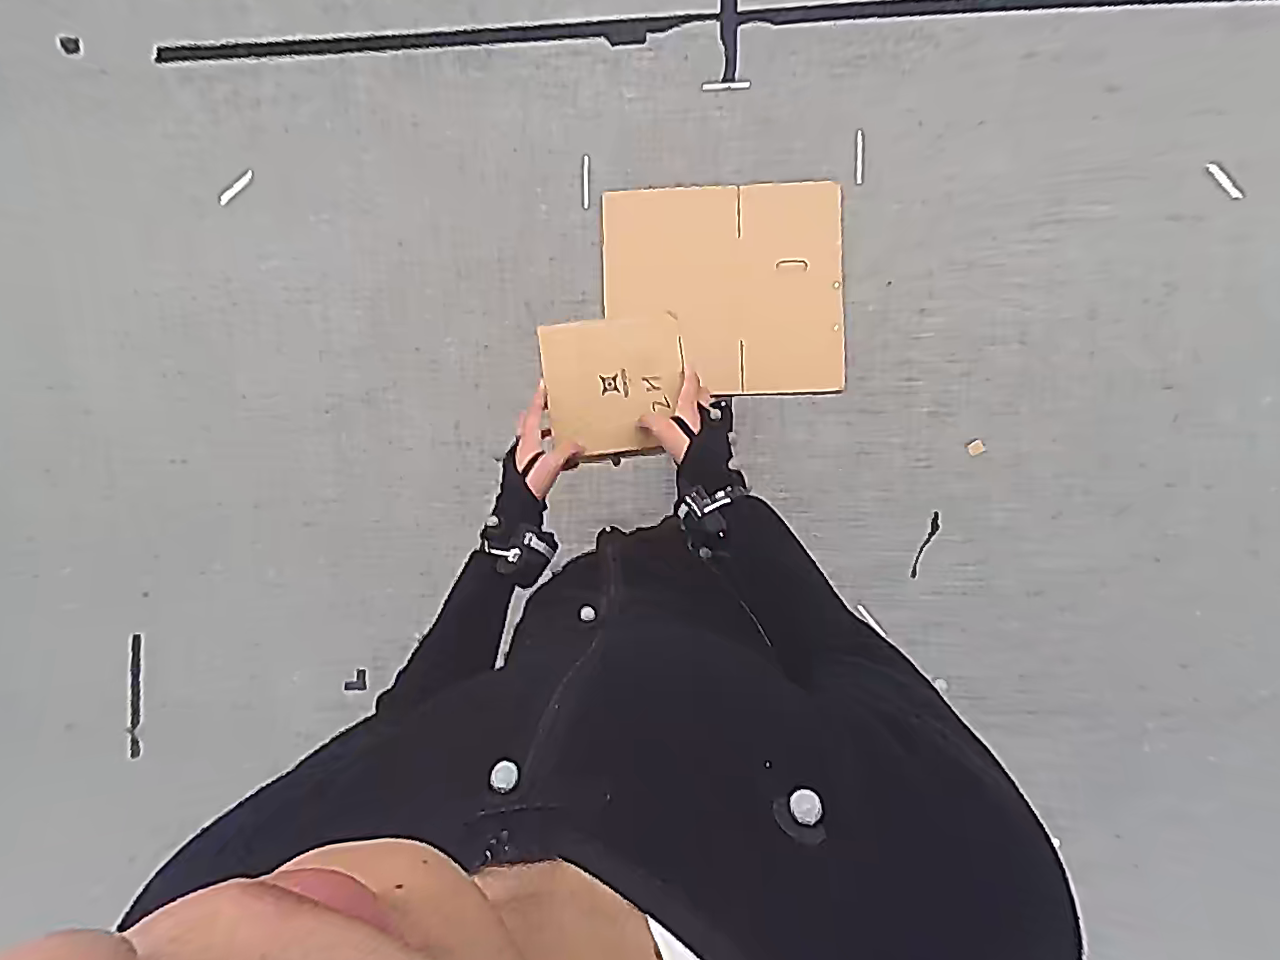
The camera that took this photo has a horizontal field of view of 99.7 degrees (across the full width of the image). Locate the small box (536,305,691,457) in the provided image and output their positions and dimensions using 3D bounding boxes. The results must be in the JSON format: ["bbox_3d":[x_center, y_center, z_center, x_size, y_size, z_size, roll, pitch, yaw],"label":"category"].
[{"bbox_3d":[-0.037,-0.124,0.737,0.179,0.176,0.168,-7,90,-6],"label":"small box"}]
